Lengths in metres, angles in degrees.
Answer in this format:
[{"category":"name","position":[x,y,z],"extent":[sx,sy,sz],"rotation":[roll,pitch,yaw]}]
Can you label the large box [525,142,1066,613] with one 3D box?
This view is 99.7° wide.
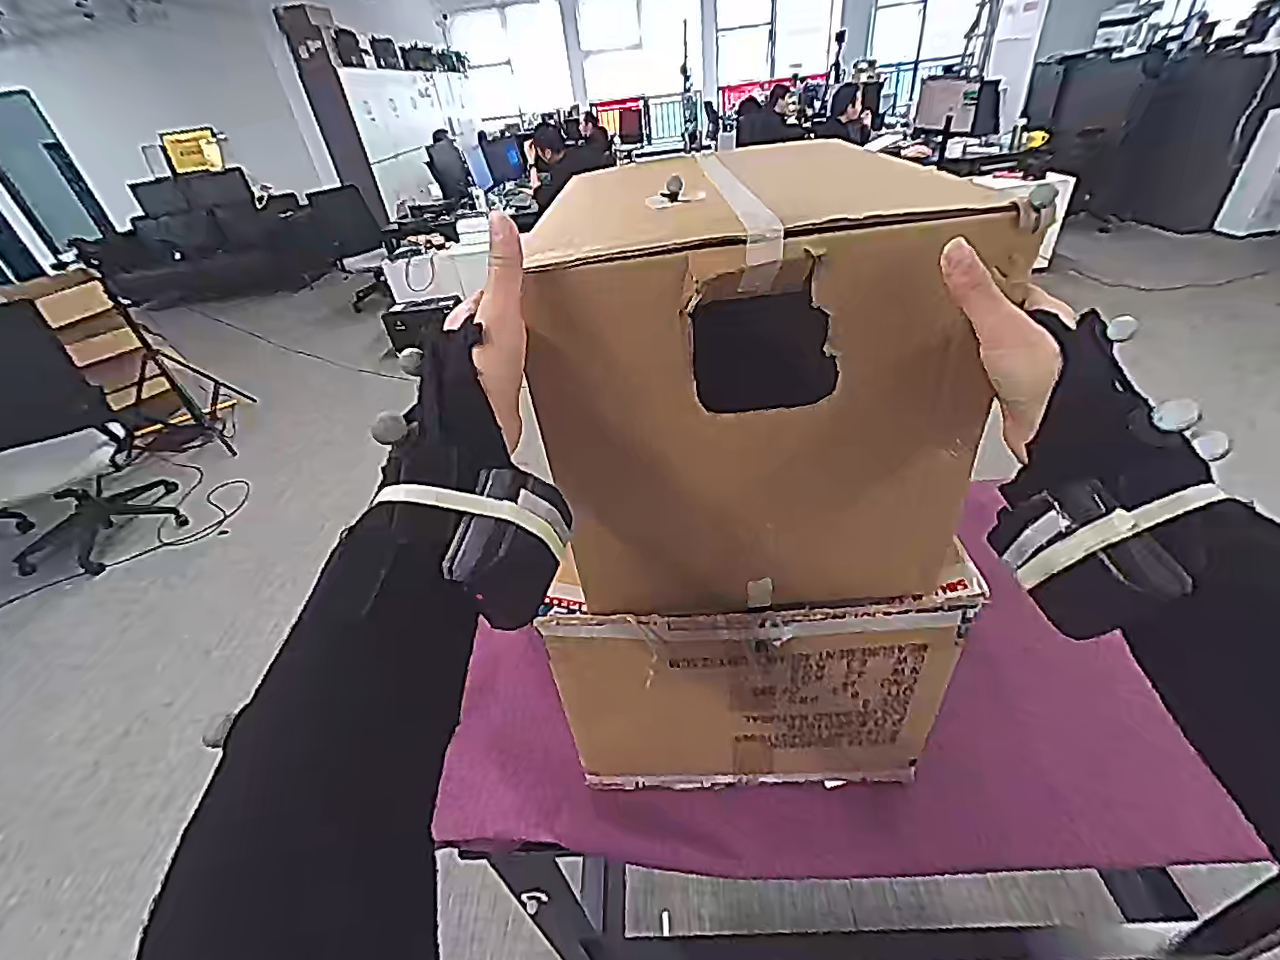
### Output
[{"category":"large box","position":[0.096,-0.128,0.549],"extent":[0.320,0.320,0.408],"rotation":[-6,37,4]}]
